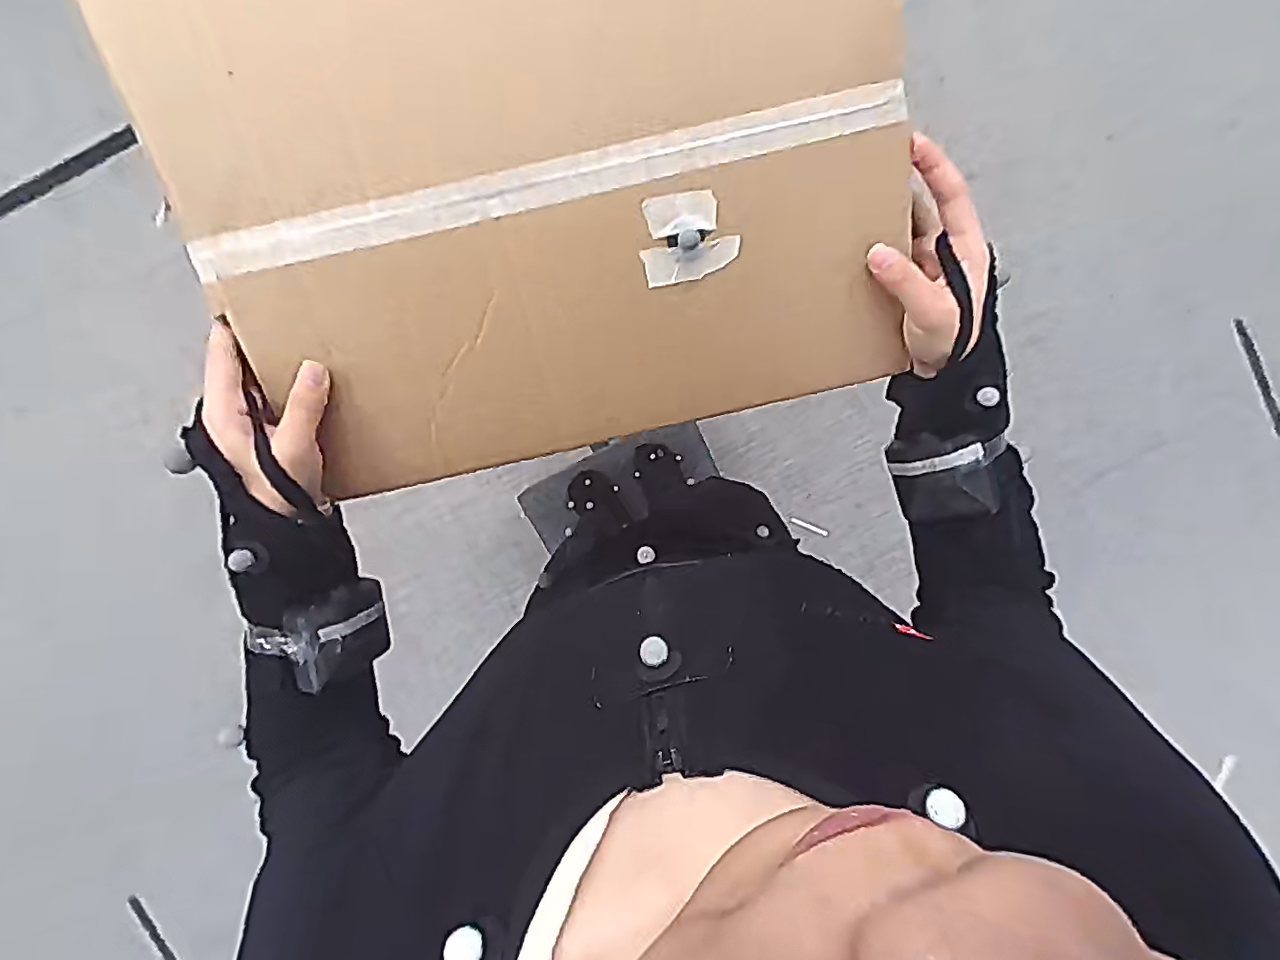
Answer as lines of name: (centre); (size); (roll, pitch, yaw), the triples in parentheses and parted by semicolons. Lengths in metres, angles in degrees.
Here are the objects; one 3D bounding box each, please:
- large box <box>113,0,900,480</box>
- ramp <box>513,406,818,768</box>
large box: (-0.062, -0.232, 0.450); (0.408, 0.320, 0.320); (-13, 112, -1)
ramp: (0.113, 0.340, 1.492); (0.509, 0.206, 0.991); (-29, 97, -1)
